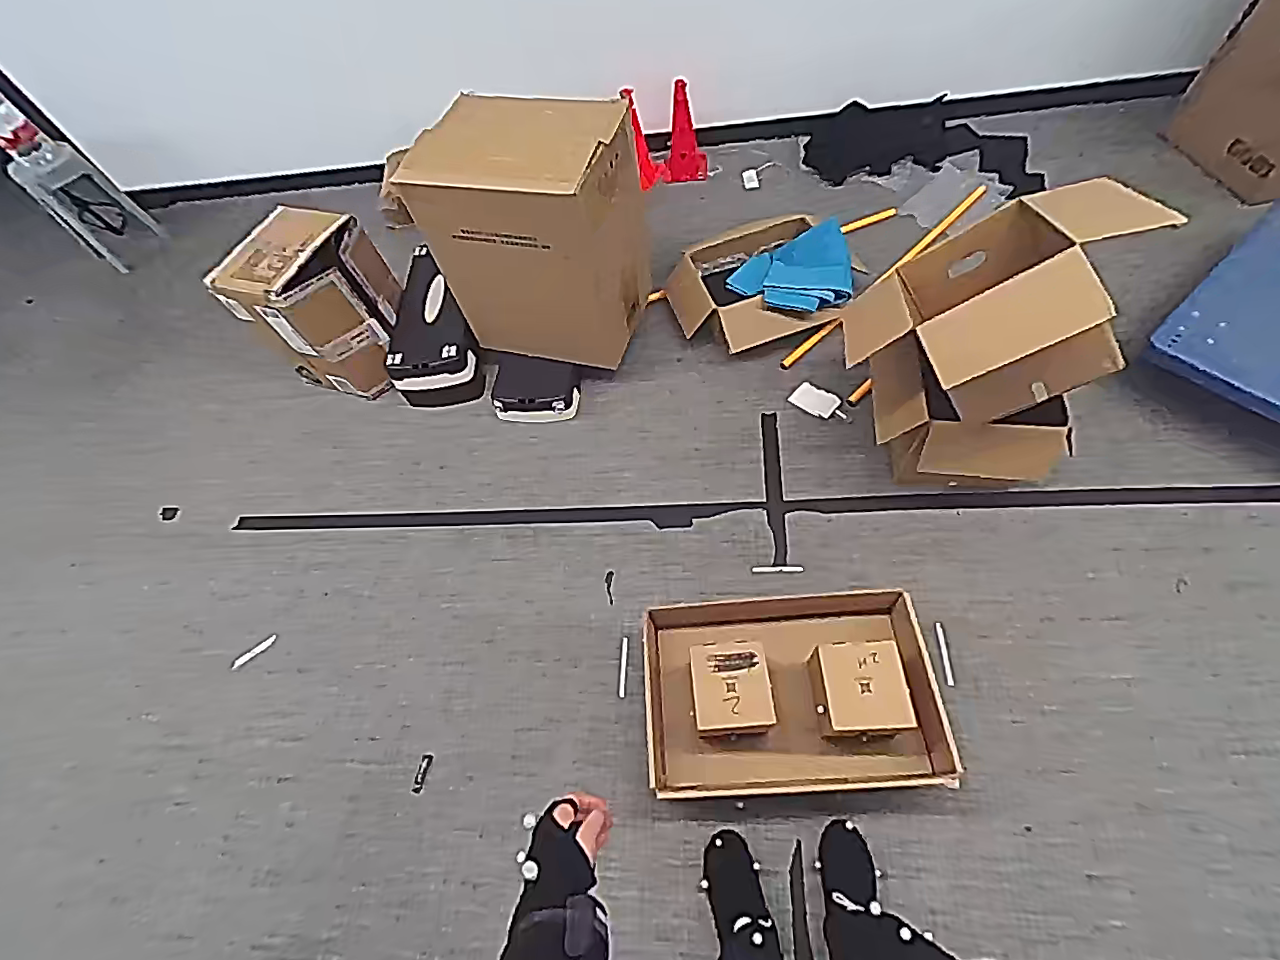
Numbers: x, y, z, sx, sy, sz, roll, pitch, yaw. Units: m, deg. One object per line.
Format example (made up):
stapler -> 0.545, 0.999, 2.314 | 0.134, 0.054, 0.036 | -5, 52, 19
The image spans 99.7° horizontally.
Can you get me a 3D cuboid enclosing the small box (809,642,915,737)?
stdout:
small box -> 0.480, 0.469, 1.197 | 0.168, 0.176, 0.179 | -4, 59, 6
